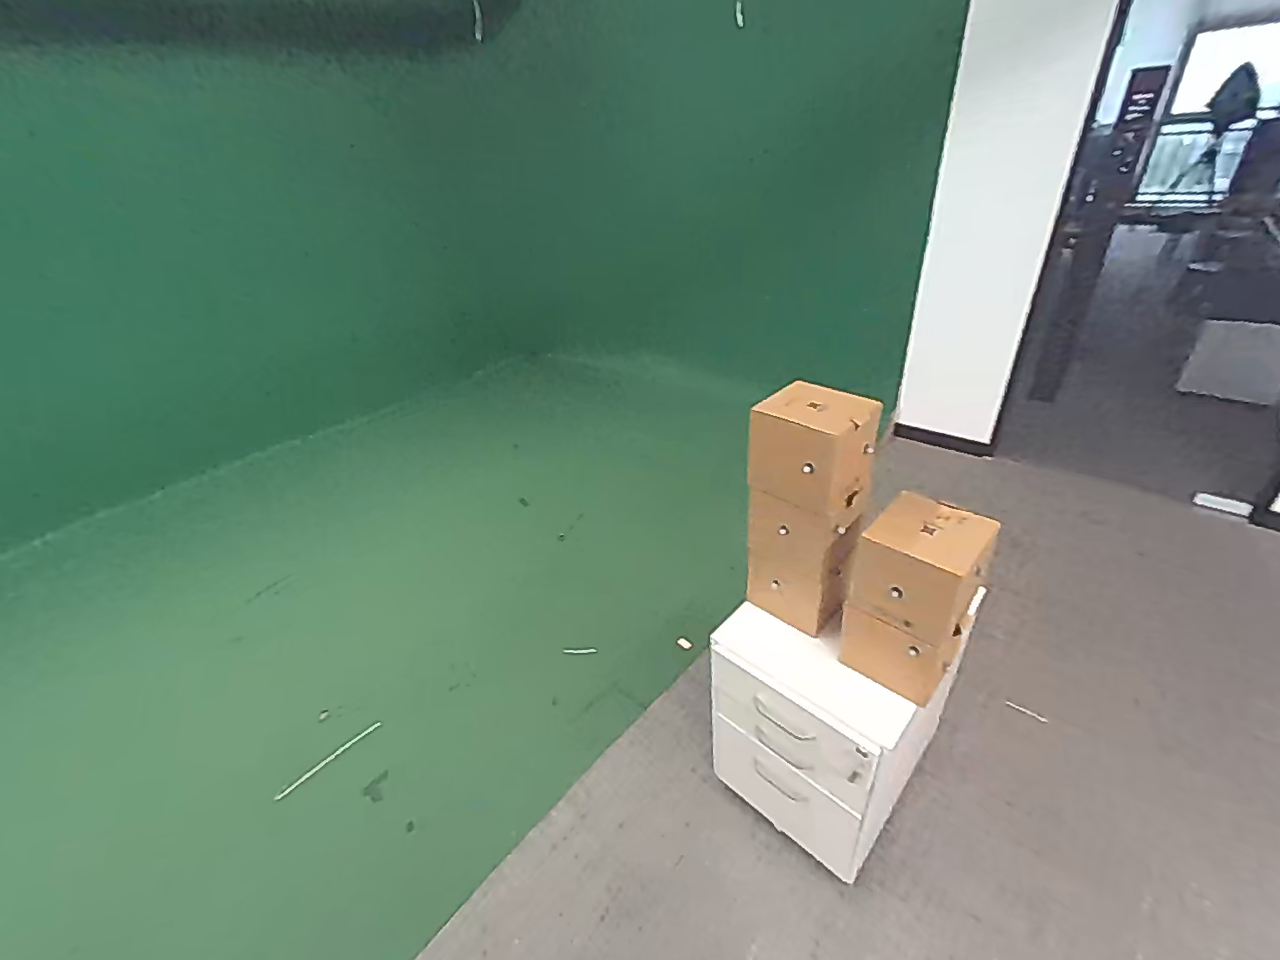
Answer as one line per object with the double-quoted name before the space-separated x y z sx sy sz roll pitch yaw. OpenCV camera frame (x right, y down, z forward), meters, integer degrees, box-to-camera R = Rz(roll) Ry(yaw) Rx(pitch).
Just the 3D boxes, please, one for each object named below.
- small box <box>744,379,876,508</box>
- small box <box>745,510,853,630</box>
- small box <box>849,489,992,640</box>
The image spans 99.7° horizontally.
"small box" 0.315 -0.068 1.022 0.179 0.176 0.168 25 43 38
"small box" 0.349 0.200 1.207 0.179 0.176 0.168 26 45 36
"small box" 0.491 0.148 0.965 0.168 0.176 0.179 26 44 38
